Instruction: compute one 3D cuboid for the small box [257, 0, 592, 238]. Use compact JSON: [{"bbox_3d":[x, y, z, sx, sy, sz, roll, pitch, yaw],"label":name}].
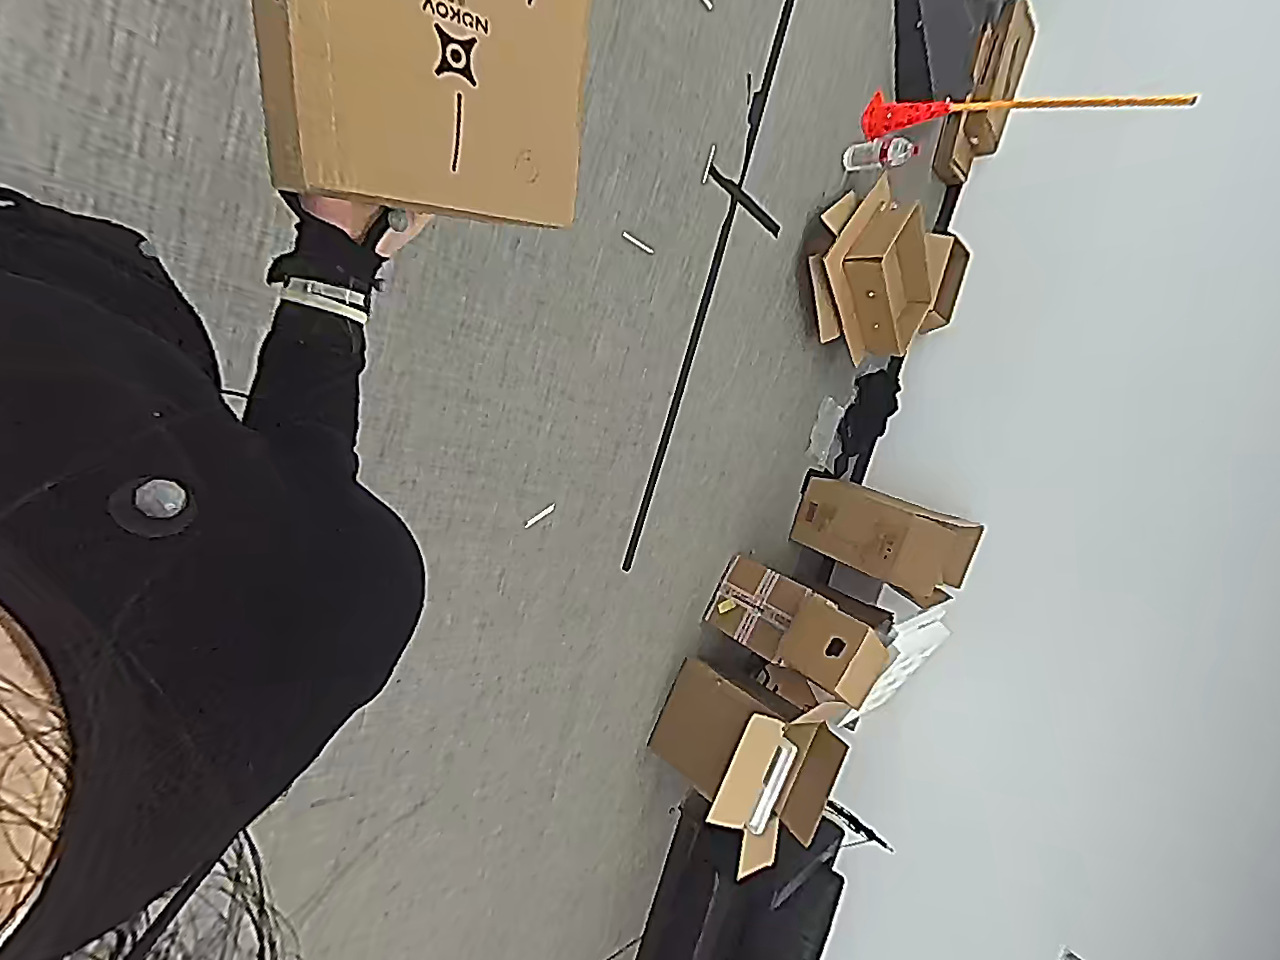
[{"bbox_3d":[-0.151,-0.276,0.368,0.168,0.176,0.179,-9,118,-37],"label":"small box"}]
